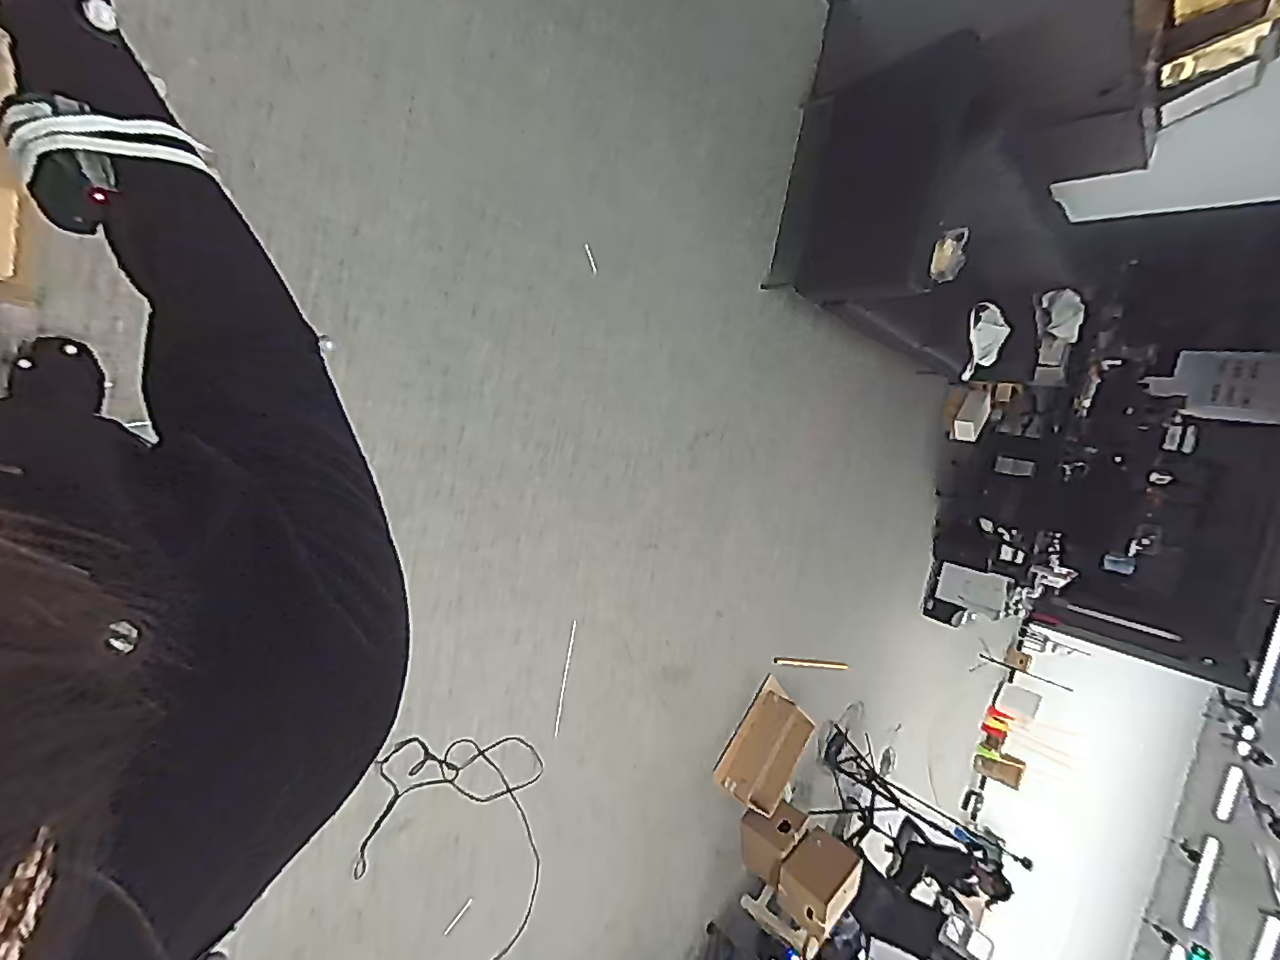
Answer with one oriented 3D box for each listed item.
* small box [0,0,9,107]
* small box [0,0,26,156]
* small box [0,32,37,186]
[{"bbox_3d":[-0.517,-0.369,0.324,0.168,0.176,0.179,2,100,-44],"label":"small box"},{"bbox_3d":[-0.637,-0.389,0.435,0.179,0.176,0.168,5,97,-44],"label":"small box"},{"bbox_3d":[-0.751,-0.421,0.548,0.179,0.176,0.168,3,99,-44],"label":"small box"}]
